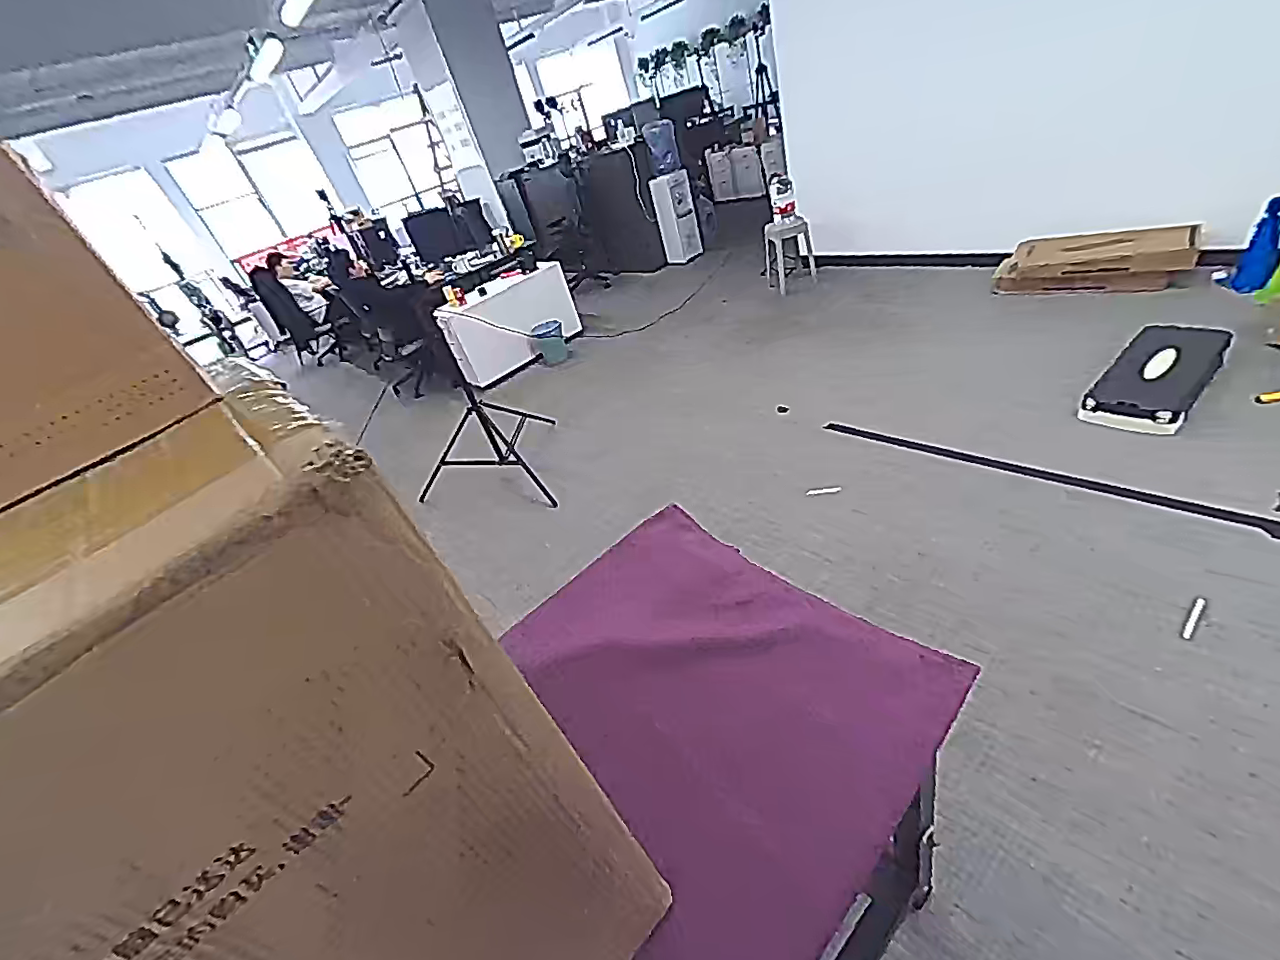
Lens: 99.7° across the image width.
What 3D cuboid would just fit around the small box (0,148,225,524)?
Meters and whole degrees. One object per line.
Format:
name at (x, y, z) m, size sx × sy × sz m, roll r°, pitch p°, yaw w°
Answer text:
small box at (-0.421, -0.082, 0.349) m, size 0.179 × 0.176 × 0.168 m, roll -39°, pitch 38°, yaw -26°
